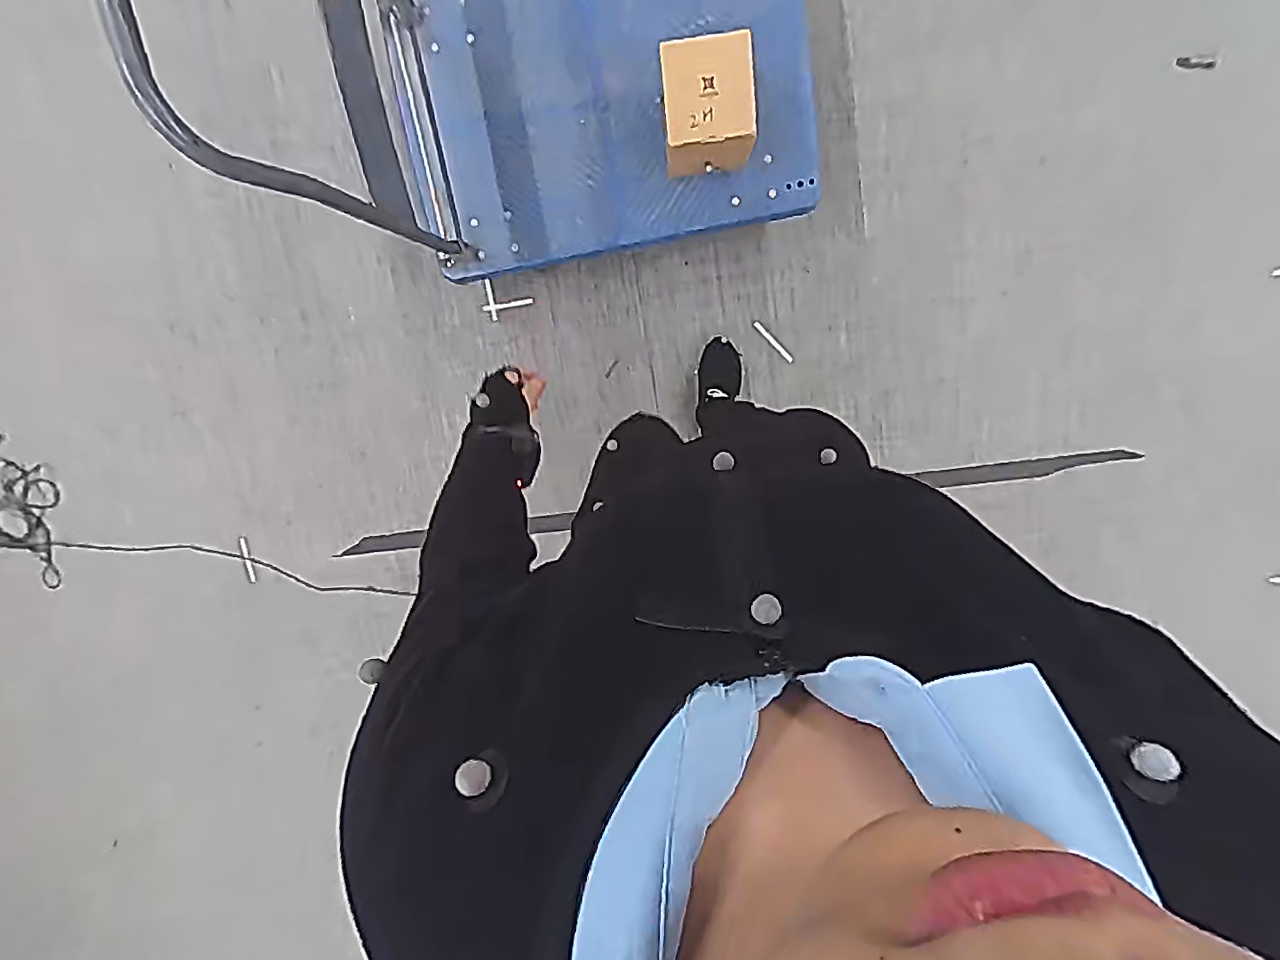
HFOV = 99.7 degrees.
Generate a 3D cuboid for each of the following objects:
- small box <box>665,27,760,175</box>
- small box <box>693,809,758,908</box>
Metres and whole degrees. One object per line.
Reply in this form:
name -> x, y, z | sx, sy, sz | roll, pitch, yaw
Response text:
small box -> 0.137, -0.731, 1.061 | 0.168, 0.176, 0.179 | -5, 101, 5
small box -> 0.252, 1.127, 1.616 | 0.168, 0.176, 0.179 | -10, 100, 5
